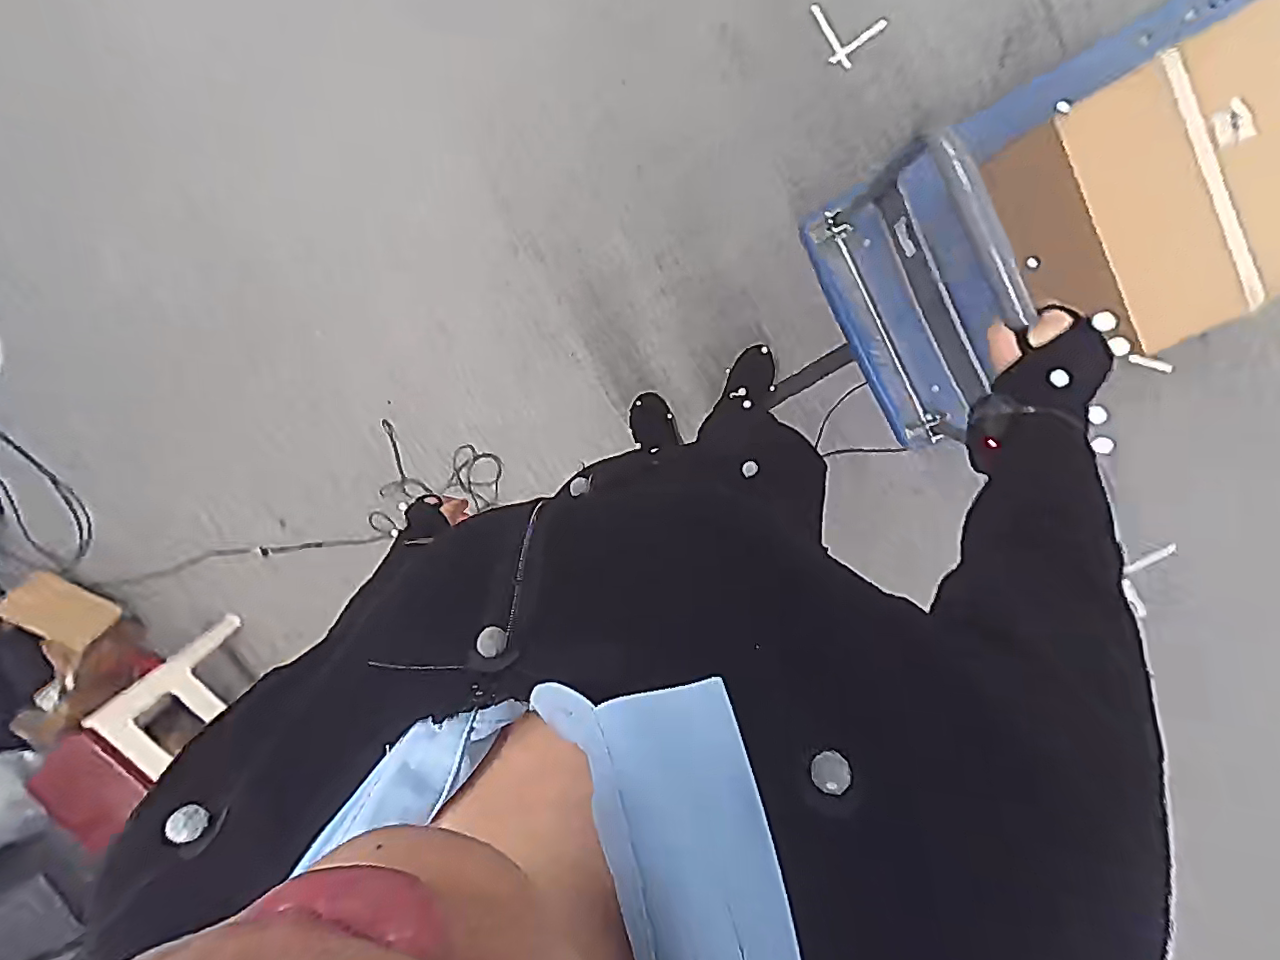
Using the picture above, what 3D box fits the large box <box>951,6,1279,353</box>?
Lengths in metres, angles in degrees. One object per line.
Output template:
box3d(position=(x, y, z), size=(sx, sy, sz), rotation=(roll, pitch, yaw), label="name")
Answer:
box3d(position=(0.855, -0.484, 0.985), size=(0.320, 0.320, 0.408), rotation=(-28, 97, 11), label="large box")
